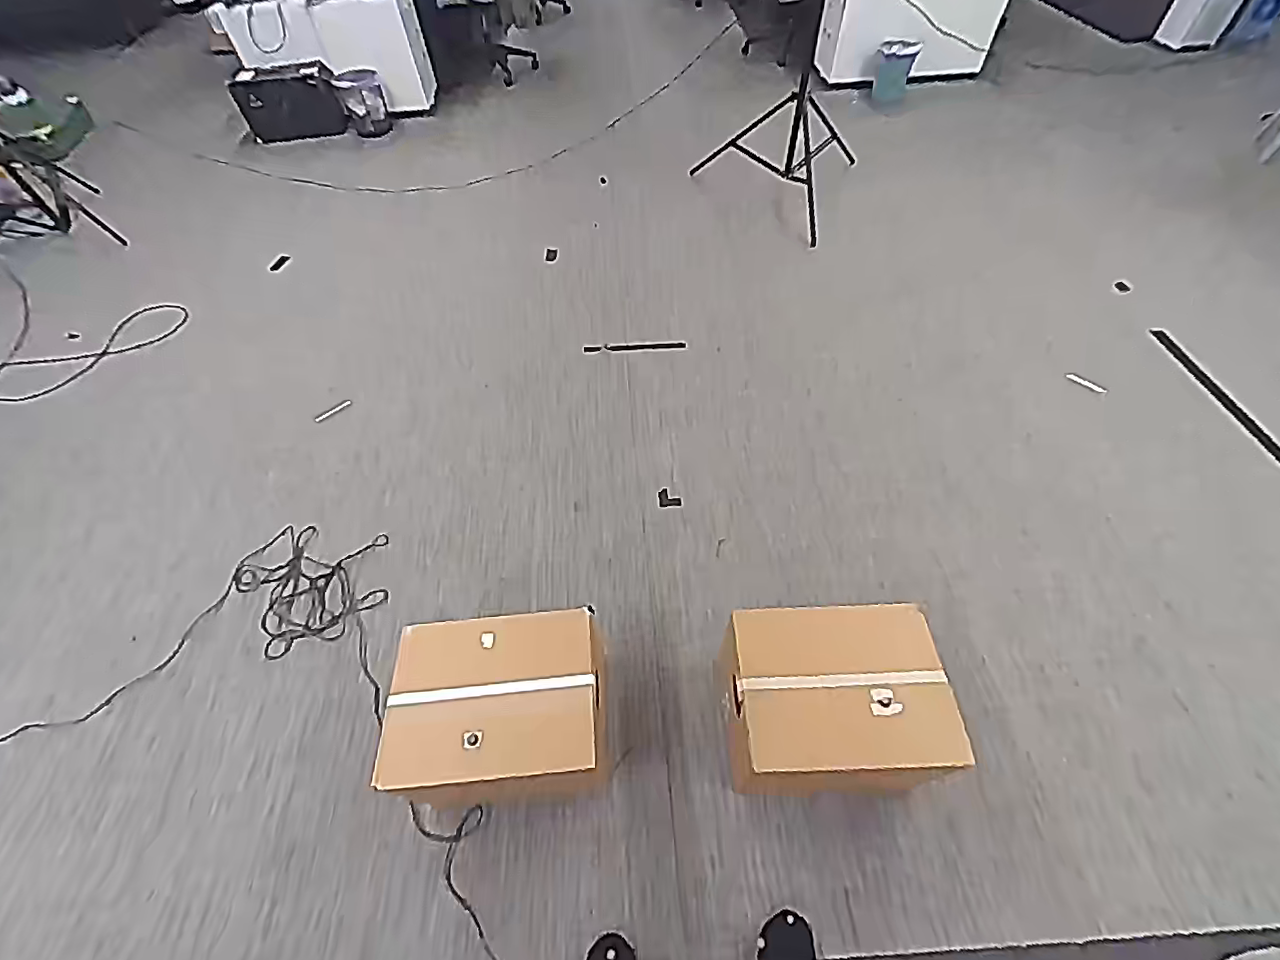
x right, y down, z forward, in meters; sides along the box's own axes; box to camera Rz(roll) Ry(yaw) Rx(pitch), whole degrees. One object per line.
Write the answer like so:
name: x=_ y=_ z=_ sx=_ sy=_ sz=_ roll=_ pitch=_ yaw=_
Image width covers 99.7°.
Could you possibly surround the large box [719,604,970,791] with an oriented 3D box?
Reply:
large box: x=0.405 y=0.486 z=1.195 sx=0.408 sy=0.320 sz=0.320 roll=-1 pitch=54 yaw=0
